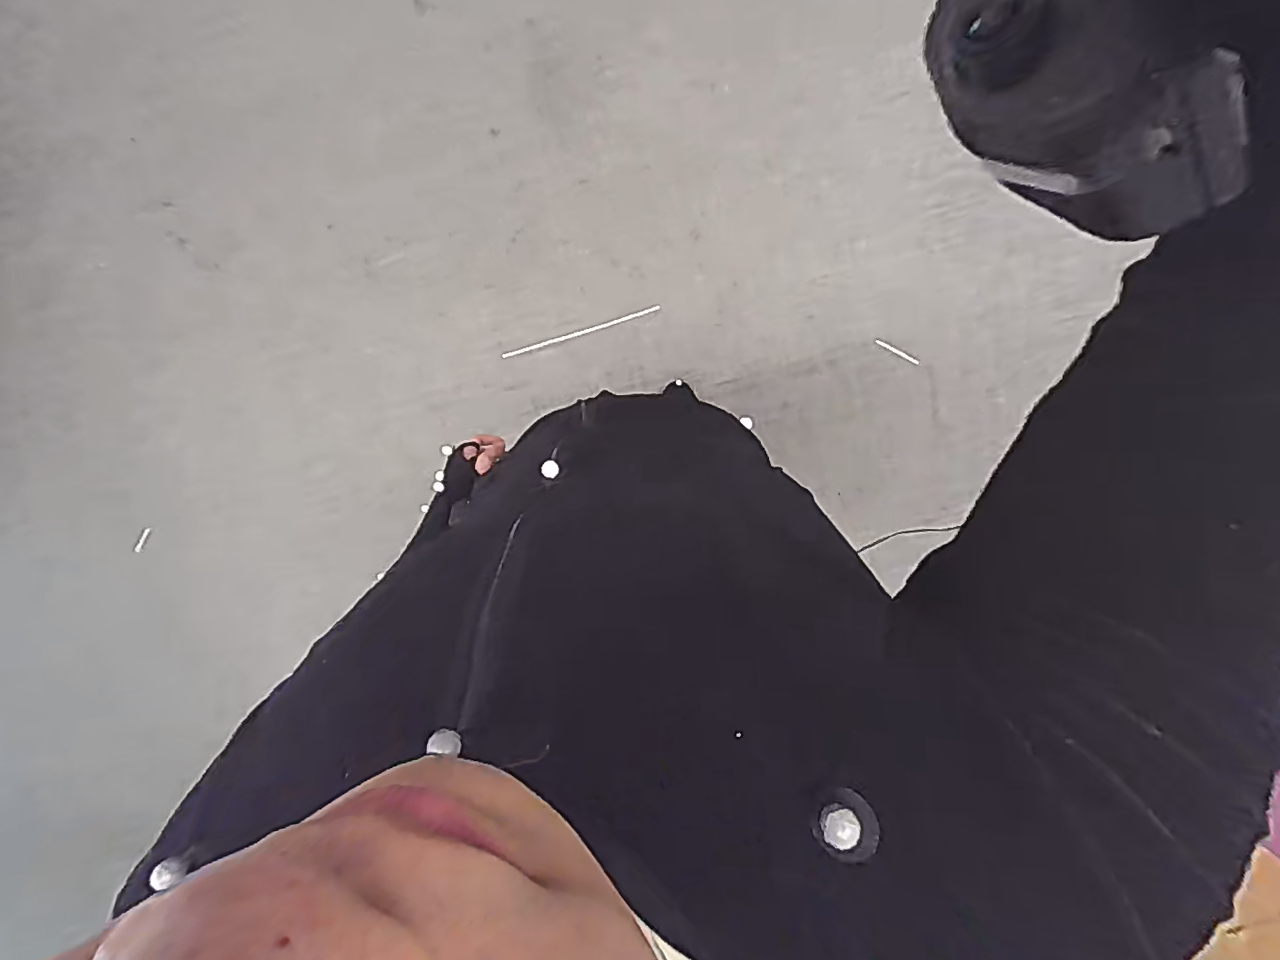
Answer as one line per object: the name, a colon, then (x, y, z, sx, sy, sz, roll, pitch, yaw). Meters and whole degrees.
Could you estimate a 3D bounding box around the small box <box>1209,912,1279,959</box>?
small box: (0.943, 0.716, 0.724, 0.179, 0.176, 0.168, -19, 97, 4)
